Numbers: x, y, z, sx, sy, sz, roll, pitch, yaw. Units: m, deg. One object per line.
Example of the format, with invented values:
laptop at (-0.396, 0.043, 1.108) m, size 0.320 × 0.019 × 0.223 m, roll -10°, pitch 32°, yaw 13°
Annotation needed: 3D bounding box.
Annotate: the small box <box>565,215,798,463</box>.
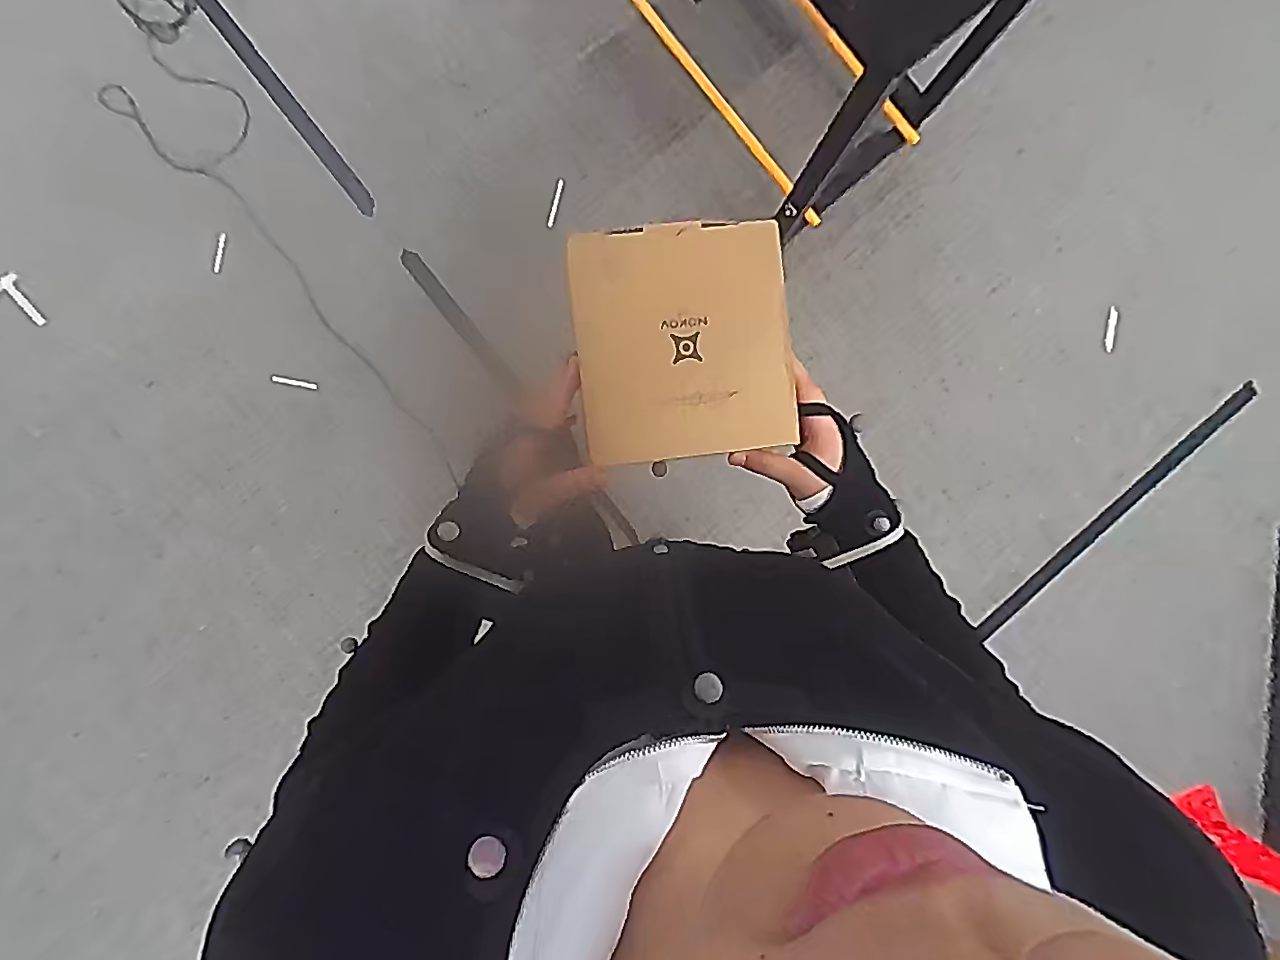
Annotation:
small box at (0.023, -0.109, 0.484) m, size 0.168 × 0.176 × 0.179 m, roll -7°, pitch 93°, yaw -6°
